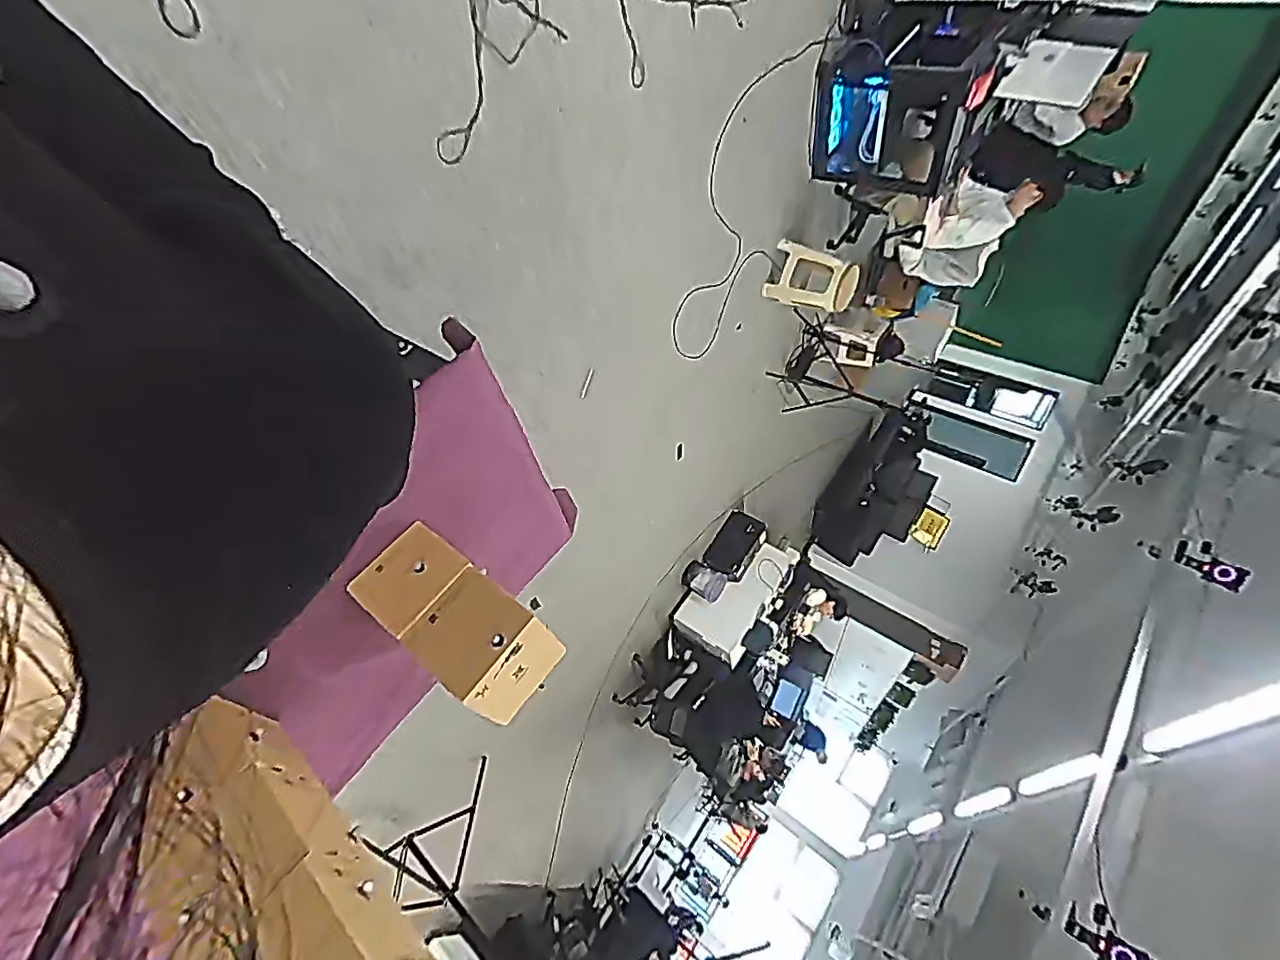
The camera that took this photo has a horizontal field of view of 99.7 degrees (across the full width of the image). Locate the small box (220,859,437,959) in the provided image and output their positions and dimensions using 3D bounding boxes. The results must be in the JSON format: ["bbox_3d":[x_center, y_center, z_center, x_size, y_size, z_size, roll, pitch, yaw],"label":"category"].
[{"bbox_3d":[-0.387,0.608,0.653,0.179,0.176,0.168,-48,148,-25],"label":"small box"}]

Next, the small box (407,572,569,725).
[{"bbox_3d":[-0.257,0.286,0.933,0.168,0.176,0.179,-50,150,-21],"label":"small box"}]

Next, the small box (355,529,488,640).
[{"bbox_3d":[-0.384,0.214,1.006,0.168,0.176,0.179,-49,149,-23],"label":"small box"}]

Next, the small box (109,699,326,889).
[{"bbox_3d":[-0.635,0.469,0.819,0.179,0.176,0.168,-47,147,-25],"label":"small box"}]
